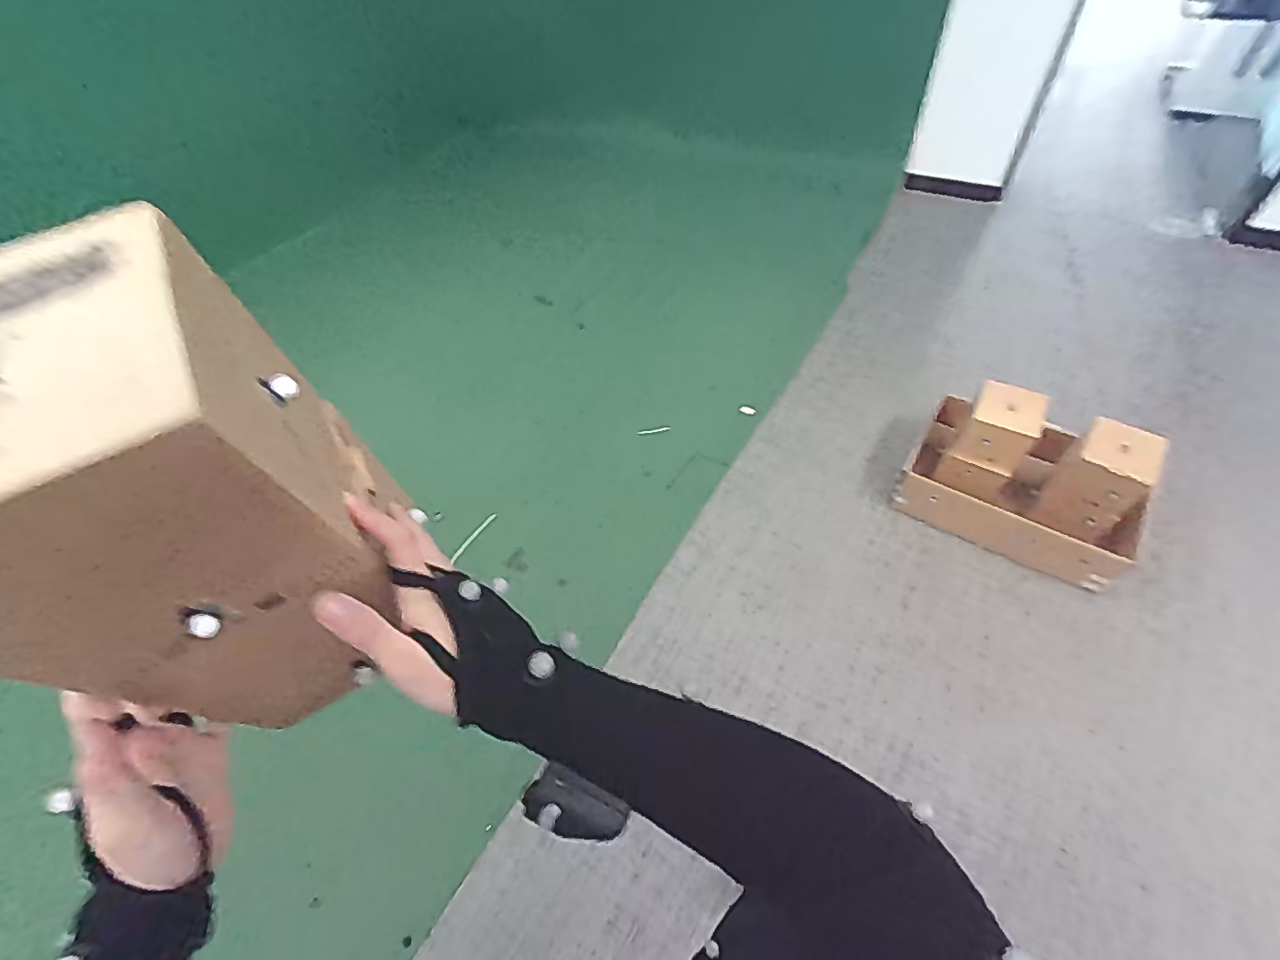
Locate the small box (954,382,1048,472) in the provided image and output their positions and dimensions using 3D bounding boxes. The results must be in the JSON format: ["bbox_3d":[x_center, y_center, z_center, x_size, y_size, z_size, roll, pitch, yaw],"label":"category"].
[{"bbox_3d":[1.047,-0.151,1.580,0.168,0.176,0.179,23,60,21],"label":"small box"}]

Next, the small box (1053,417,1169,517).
[{"bbox_3d":[1.262,-0.030,1.461,0.168,0.176,0.179,30,63,25],"label":"small box"}]

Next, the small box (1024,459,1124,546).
[{"bbox_3d":[1.281,0.069,1.589,0.179,0.176,0.168,29,62,26],"label":"small box"}]
